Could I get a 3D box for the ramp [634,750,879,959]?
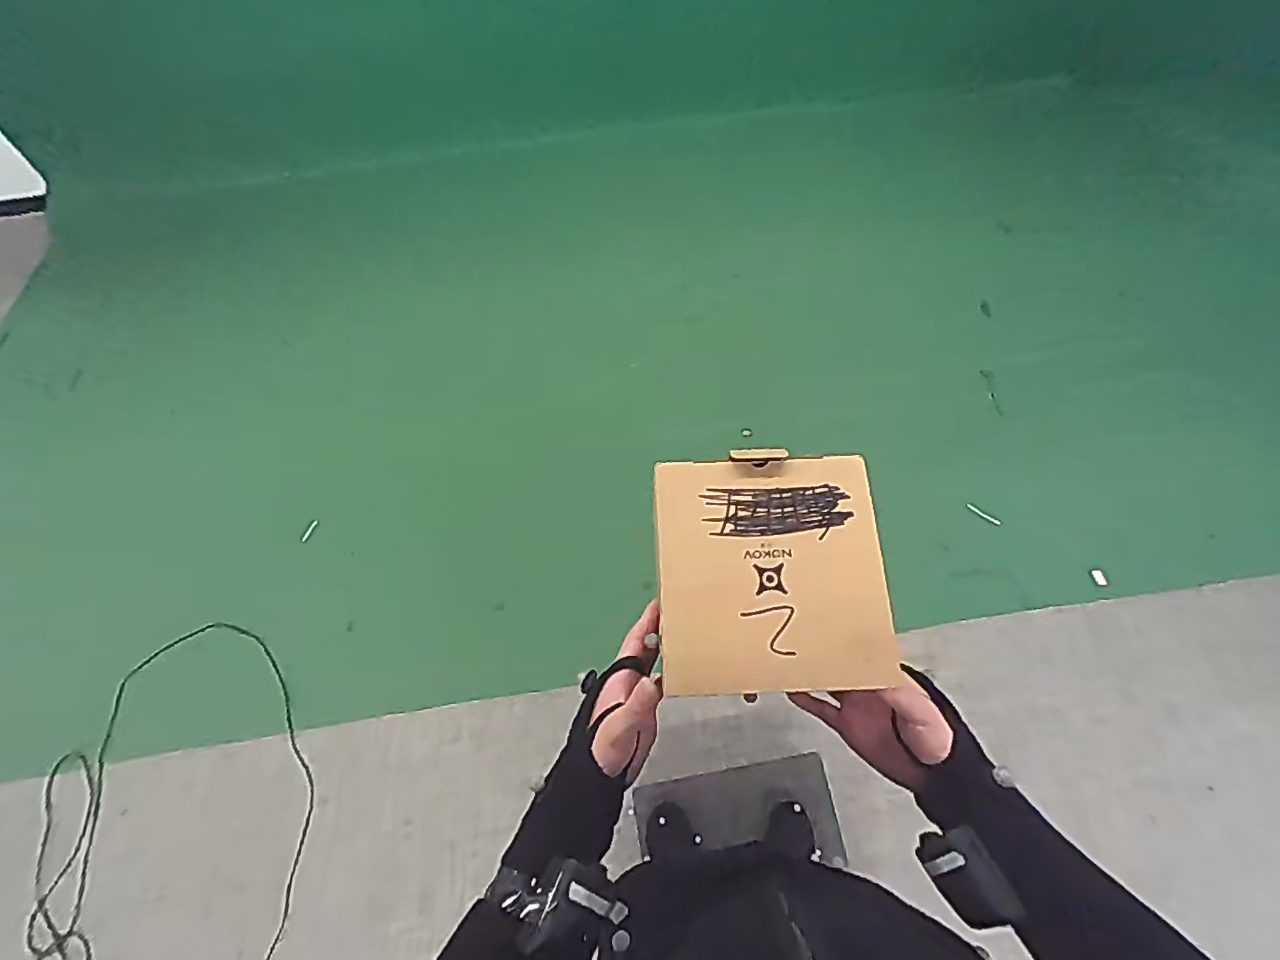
[{"bbox_3d":[0.310,1.178,1.188,0.509,0.206,0.991,-11,60,-4],"label":"ramp"}]
